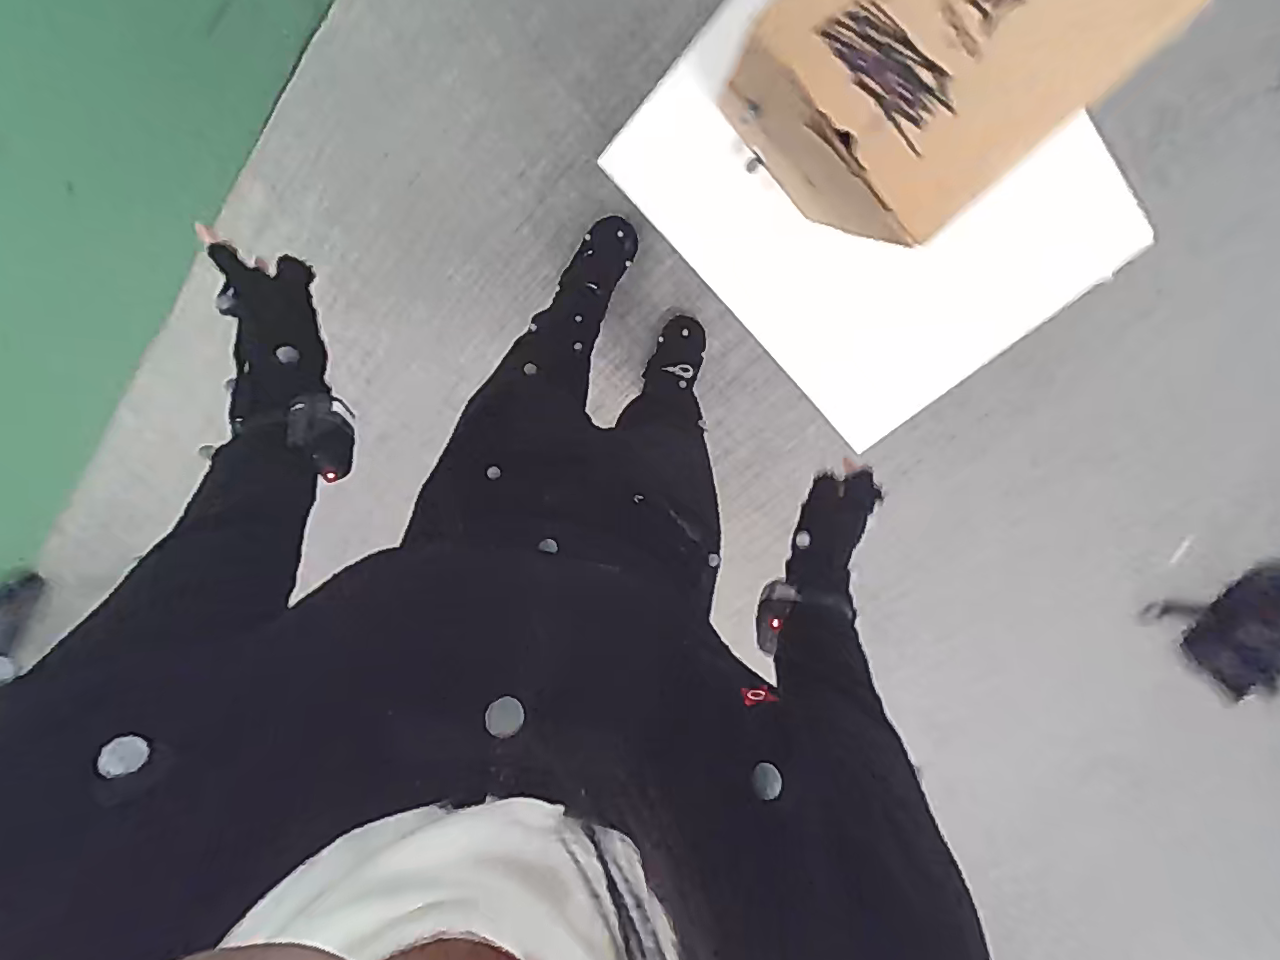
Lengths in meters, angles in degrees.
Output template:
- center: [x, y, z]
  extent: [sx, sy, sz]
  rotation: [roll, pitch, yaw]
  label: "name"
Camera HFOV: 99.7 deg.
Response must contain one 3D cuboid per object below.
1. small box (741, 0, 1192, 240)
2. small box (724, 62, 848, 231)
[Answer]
- center: [0.183, -0.292, 0.365]
  extent: [0.179, 0.176, 0.168]
  rotation: [-39, 109, 21]
  label: "small box"
- center: [0.193, -0.369, 0.510]
  extent: [0.168, 0.176, 0.179]
  rotation: [42, 115, -16]
  label: "small box"
